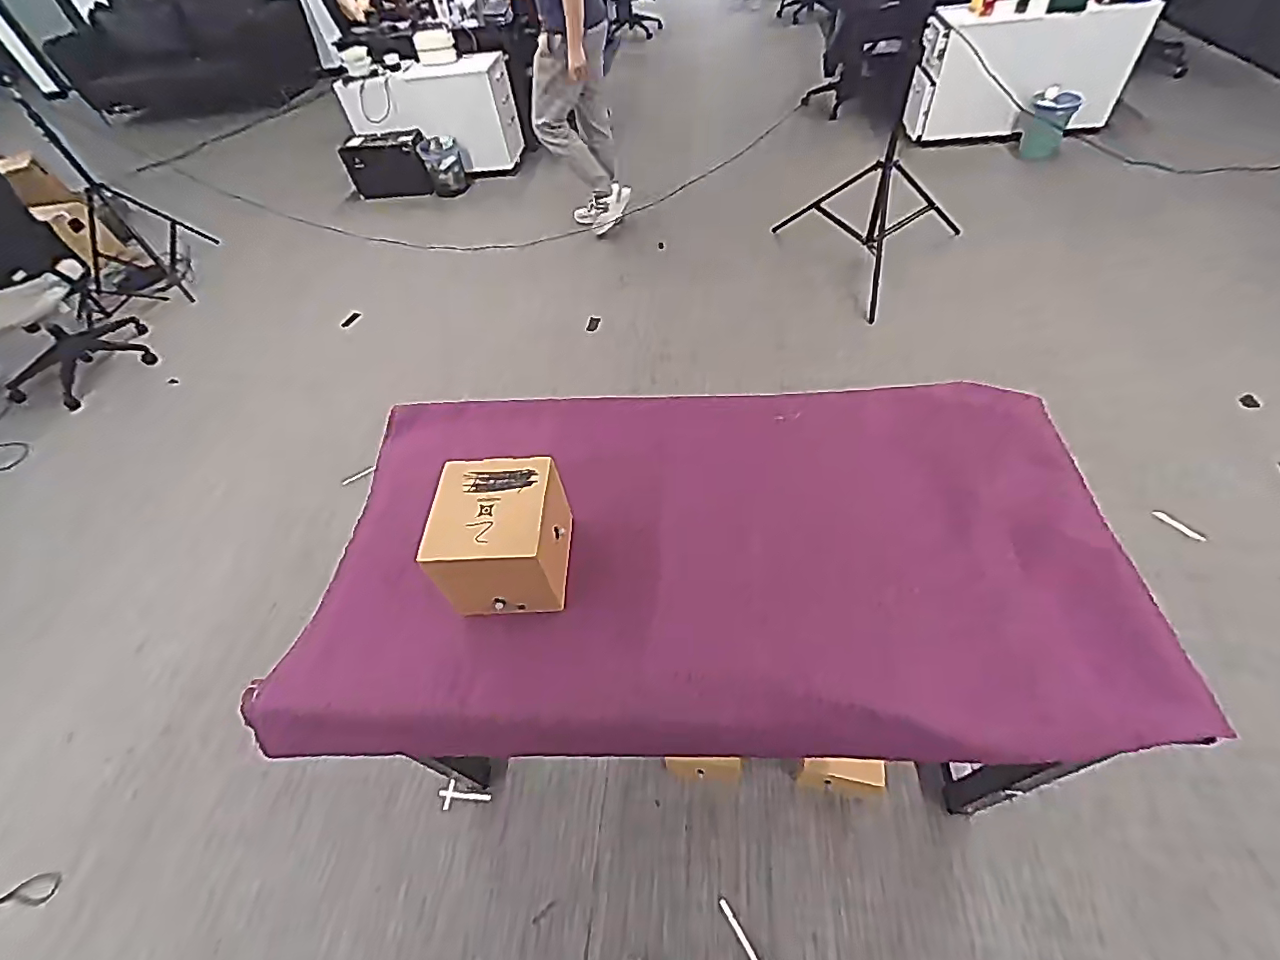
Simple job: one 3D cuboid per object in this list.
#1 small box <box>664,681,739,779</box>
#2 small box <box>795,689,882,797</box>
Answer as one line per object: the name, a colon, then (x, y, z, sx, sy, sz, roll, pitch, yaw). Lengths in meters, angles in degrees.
small box: (0.153, 0.605, 1.304, 0.168, 0.176, 0.179, 2, 51, 8)
small box: (0.458, 0.615, 1.259, 0.168, 0.176, 0.179, 7, 52, 13)
